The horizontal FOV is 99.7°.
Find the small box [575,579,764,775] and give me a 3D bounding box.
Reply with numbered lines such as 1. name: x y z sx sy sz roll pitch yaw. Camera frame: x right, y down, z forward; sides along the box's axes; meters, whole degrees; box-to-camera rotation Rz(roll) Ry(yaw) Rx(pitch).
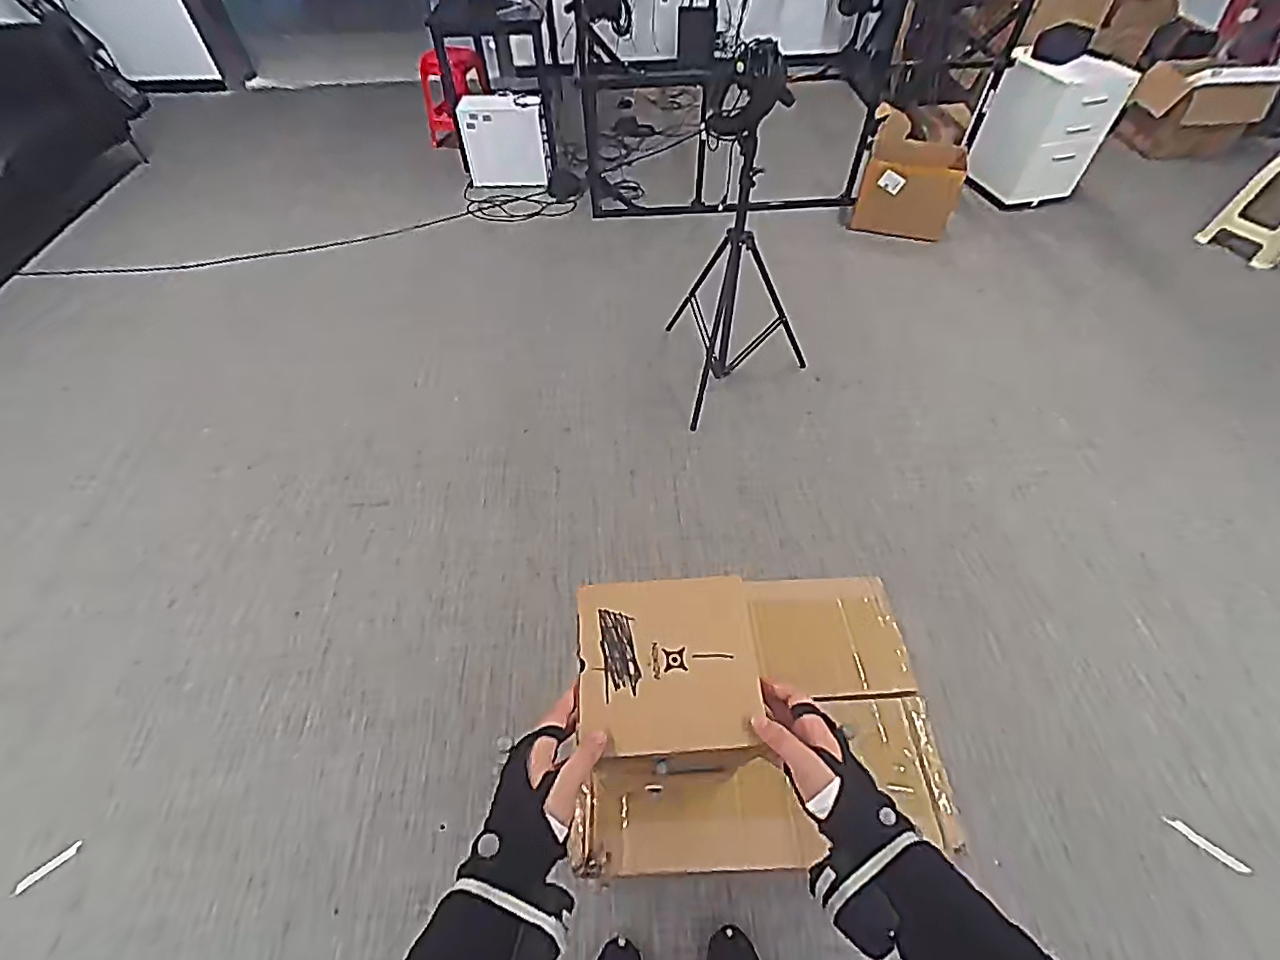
1. small box: 0.027 0.223 0.599 0.179 0.176 0.168 -4 56 -1

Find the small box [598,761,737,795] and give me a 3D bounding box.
1. small box: 0.030 0.318 0.738 0.168 0.176 0.179 -3 55 0
